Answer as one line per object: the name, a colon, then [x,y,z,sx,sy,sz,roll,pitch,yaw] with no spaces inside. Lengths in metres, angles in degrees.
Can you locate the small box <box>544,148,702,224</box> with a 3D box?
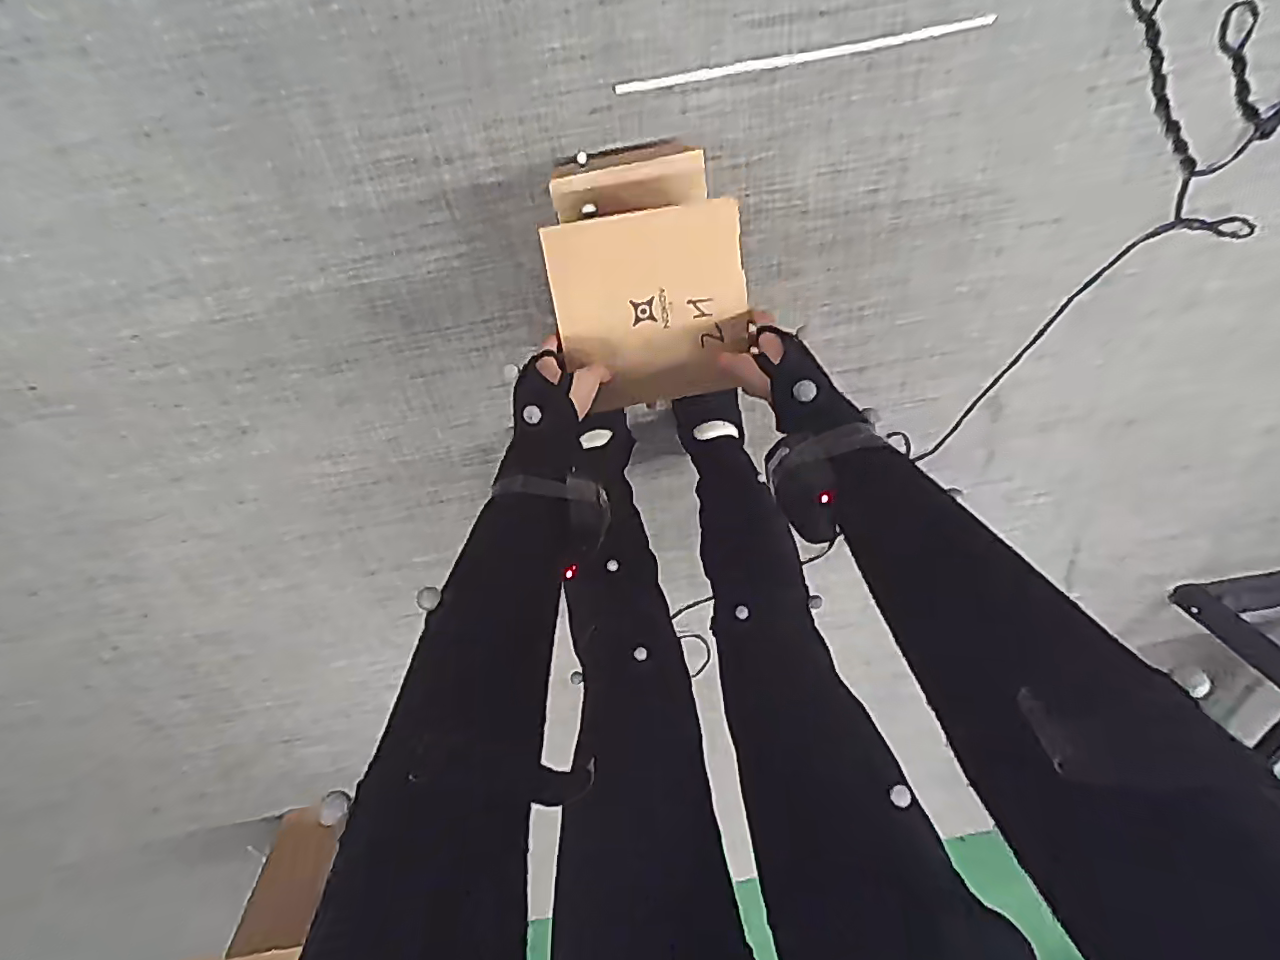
small box: [-0.016,-0.321,0.703,0.179,0.176,0.168,-12,124,0]

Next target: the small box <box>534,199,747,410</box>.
small box: [-0.001,-0.176,0.566,0.179,0.176,0.168,-10,107,-2]
